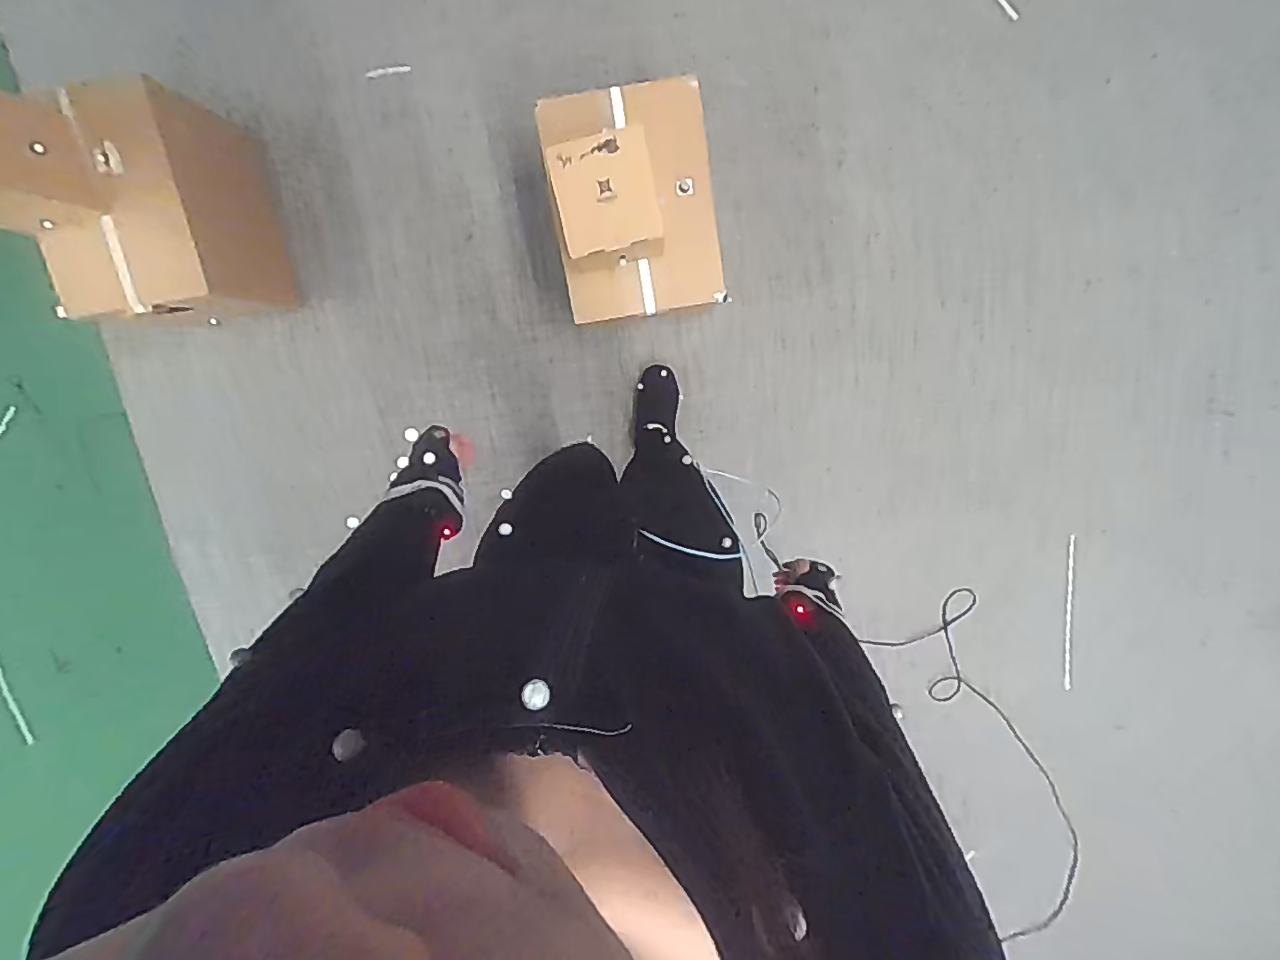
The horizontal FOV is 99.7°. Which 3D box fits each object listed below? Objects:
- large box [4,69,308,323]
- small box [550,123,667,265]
[{"bbox_3d":[-1.030,-0.588,1.206,0.320,0.320,0.408,-8,102,4],"label":"large box"},{"bbox_3d":[-0.046,-0.491,0.961,0.168,0.176,0.179,-11,104,6],"label":"small box"}]
